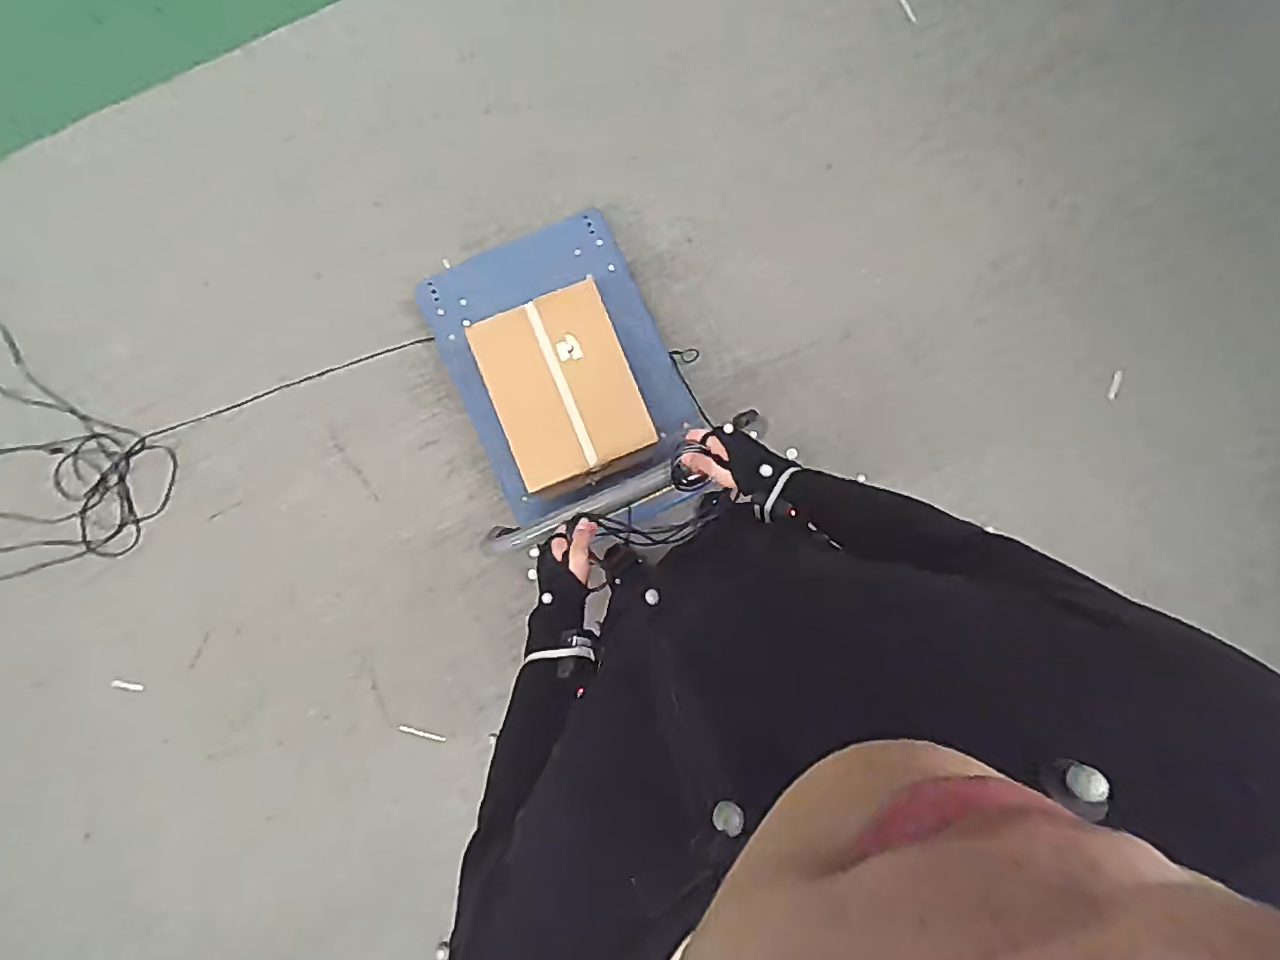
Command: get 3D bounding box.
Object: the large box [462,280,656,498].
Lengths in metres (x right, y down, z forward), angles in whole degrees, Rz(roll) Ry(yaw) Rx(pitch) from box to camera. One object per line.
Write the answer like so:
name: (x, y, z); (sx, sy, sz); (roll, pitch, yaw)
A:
large box: (-0.180, -0.199, 1.337); (0.320, 0.320, 0.408); (-22, 86, -3)
